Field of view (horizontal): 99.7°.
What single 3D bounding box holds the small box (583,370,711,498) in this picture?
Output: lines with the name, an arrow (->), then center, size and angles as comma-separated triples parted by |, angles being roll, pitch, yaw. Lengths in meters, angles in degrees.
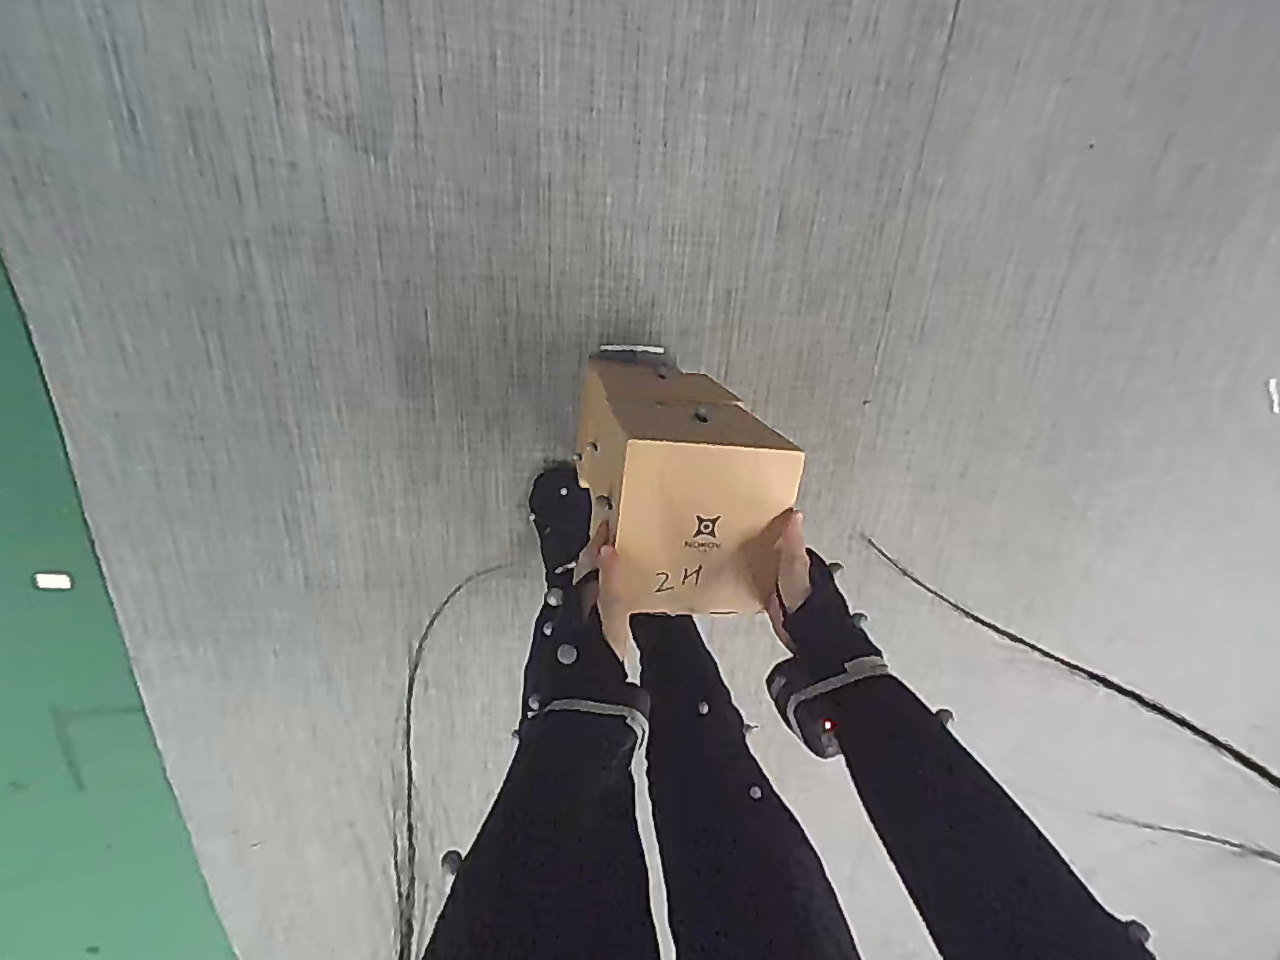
small box -> 0.000, -0.076, 0.891 | 0.168, 0.176, 0.179 | 6, 110, -12

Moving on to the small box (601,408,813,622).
small box -> 0.055, 0.029, 0.578 | 0.168, 0.176, 0.179 | 5, 110, -12
